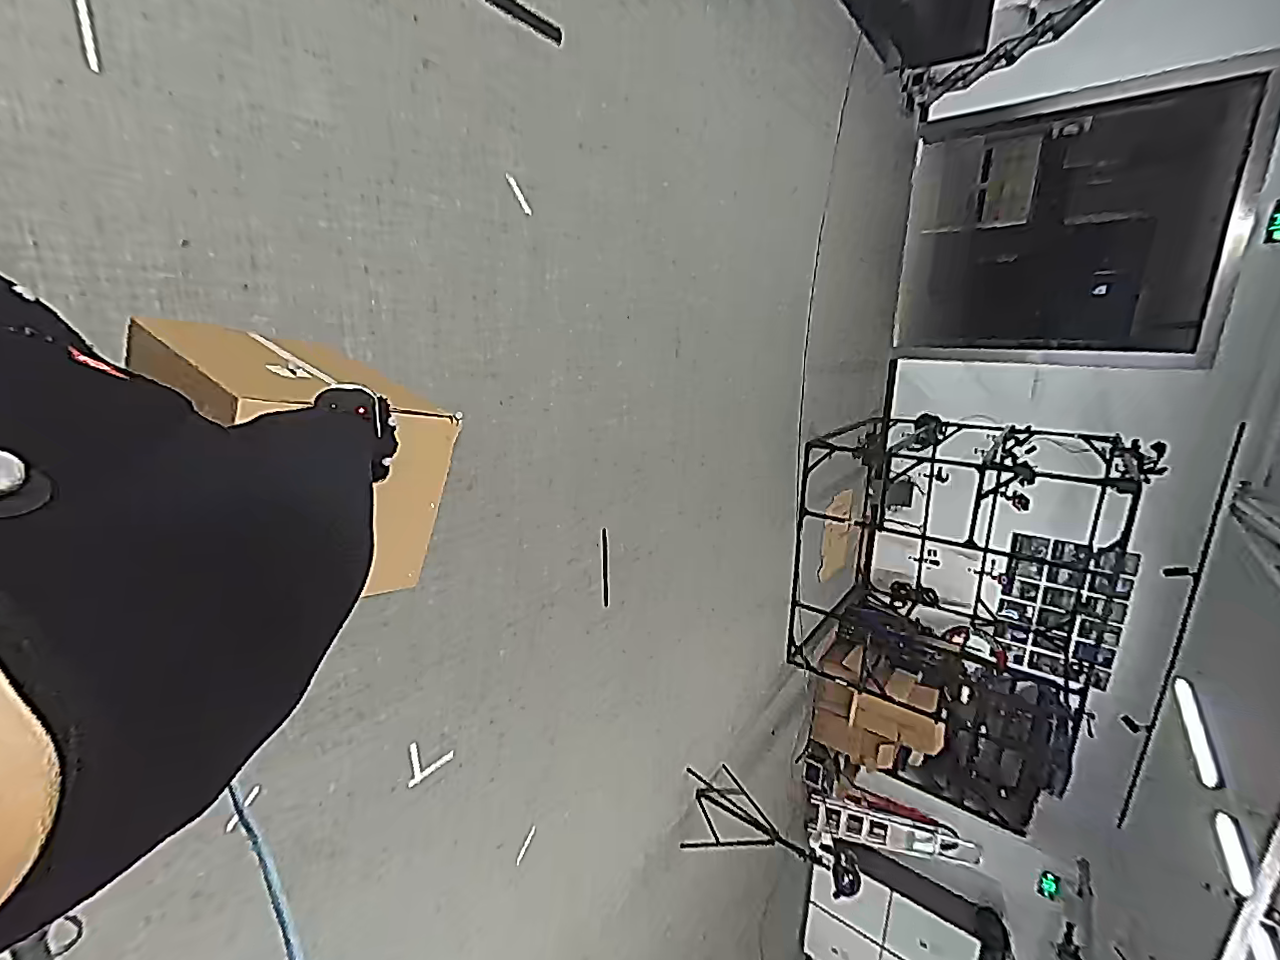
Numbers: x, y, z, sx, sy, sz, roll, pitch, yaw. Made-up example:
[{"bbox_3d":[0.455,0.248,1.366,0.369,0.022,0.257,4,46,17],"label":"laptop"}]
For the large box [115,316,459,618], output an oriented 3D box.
[{"bbox_3d":[-0.580,-0.035,0.888,0.320,0.408,0.320,-3,116,-57],"label":"large box"}]
